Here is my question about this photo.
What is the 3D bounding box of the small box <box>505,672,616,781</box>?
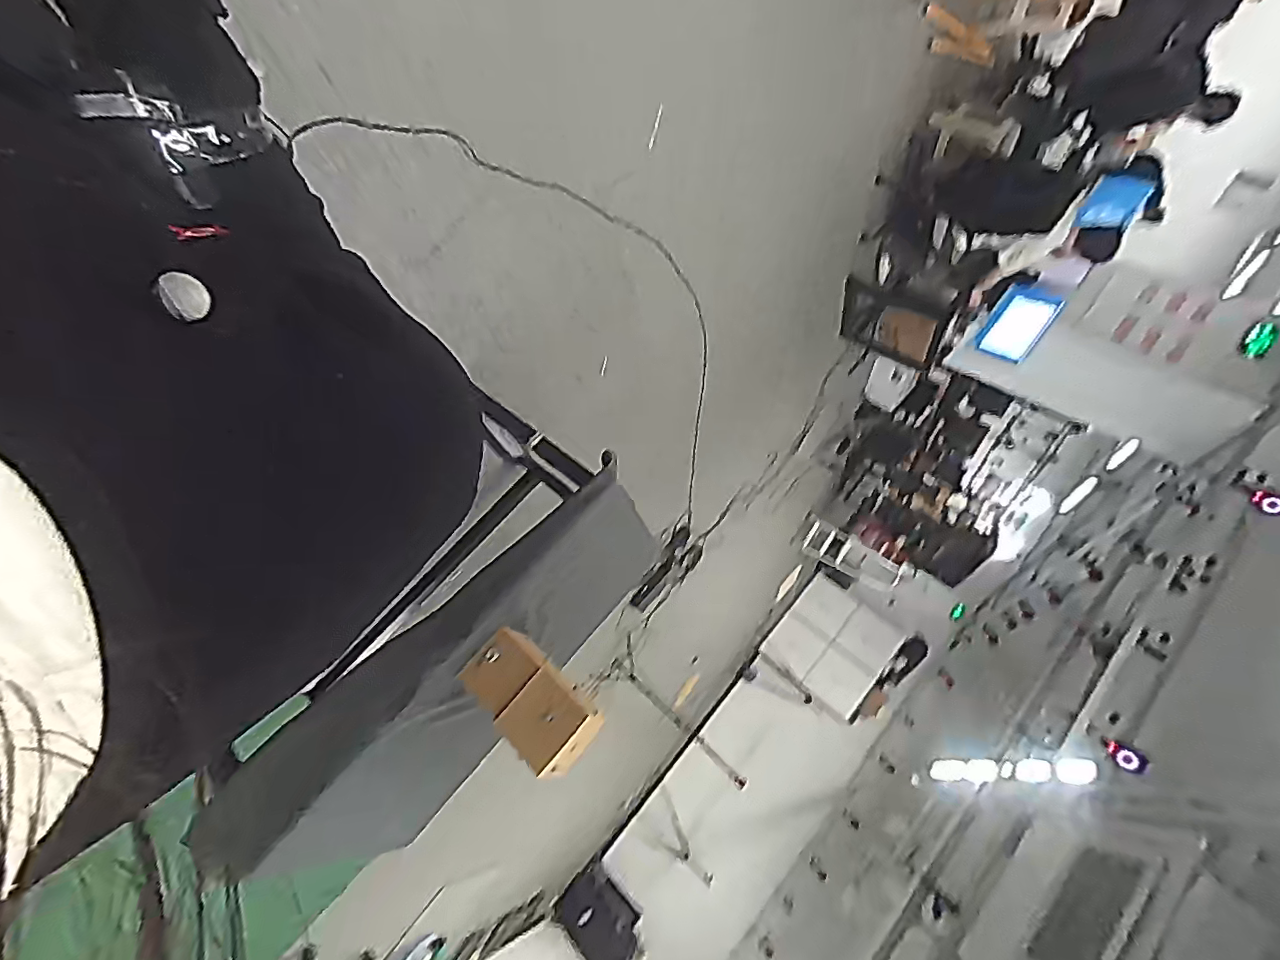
[{"bbox_3d":[-0.192,0.591,1.312,0.179,0.176,0.168,-50,154,-10],"label":"small box"}]

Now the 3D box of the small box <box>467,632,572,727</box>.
[{"bbox_3d":[-0.307,0.517,1.398,0.168,0.176,0.179,-51,152,-11],"label":"small box"}]
